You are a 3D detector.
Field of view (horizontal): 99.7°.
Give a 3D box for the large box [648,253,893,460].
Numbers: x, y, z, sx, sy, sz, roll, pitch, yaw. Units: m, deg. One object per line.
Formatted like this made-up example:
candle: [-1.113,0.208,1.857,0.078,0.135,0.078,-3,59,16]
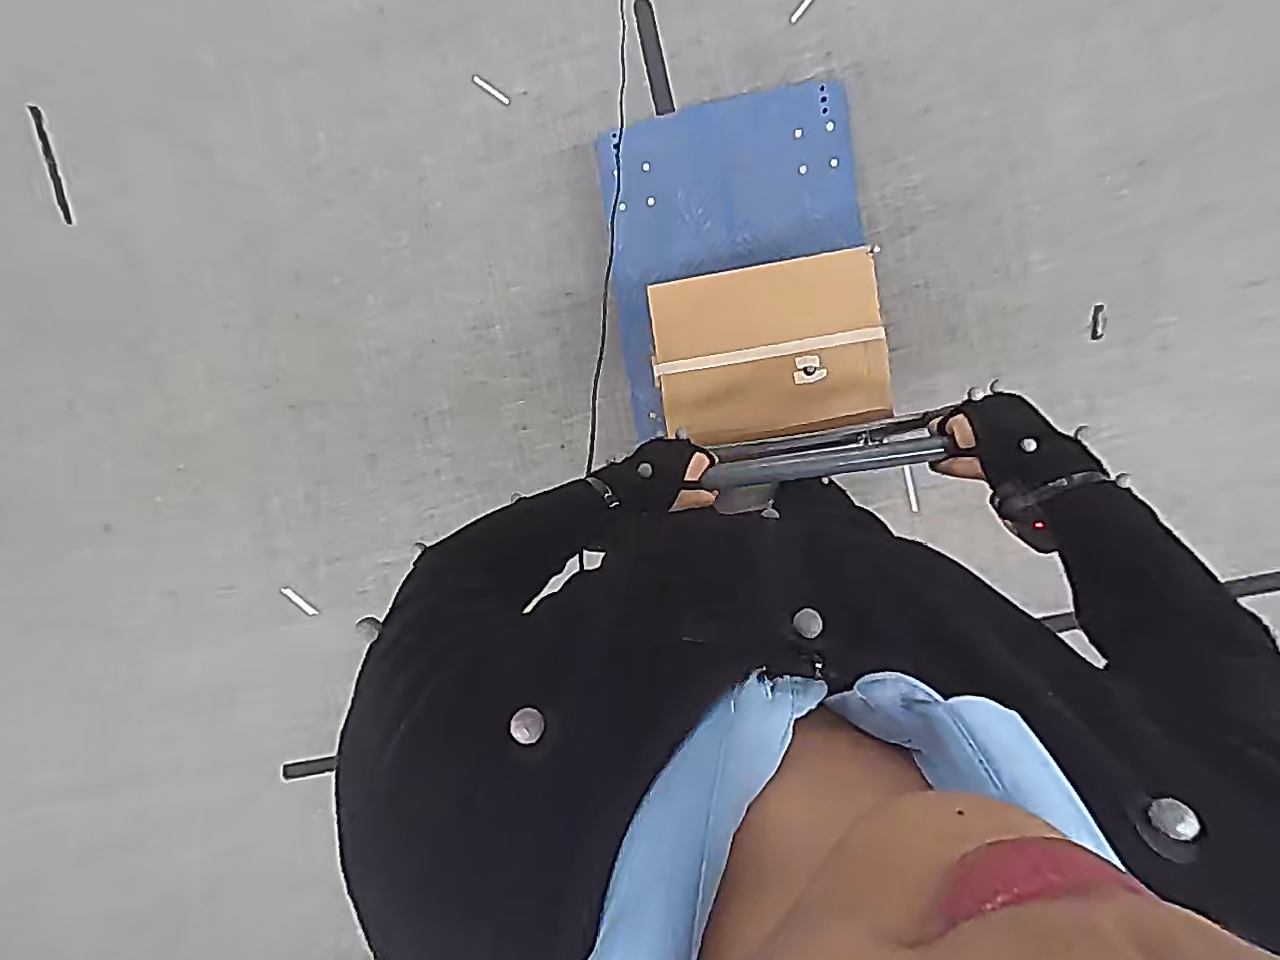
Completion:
large box: [0.247,-0.224,1.125,0.408,0.320,0.320,-9,92,7]
